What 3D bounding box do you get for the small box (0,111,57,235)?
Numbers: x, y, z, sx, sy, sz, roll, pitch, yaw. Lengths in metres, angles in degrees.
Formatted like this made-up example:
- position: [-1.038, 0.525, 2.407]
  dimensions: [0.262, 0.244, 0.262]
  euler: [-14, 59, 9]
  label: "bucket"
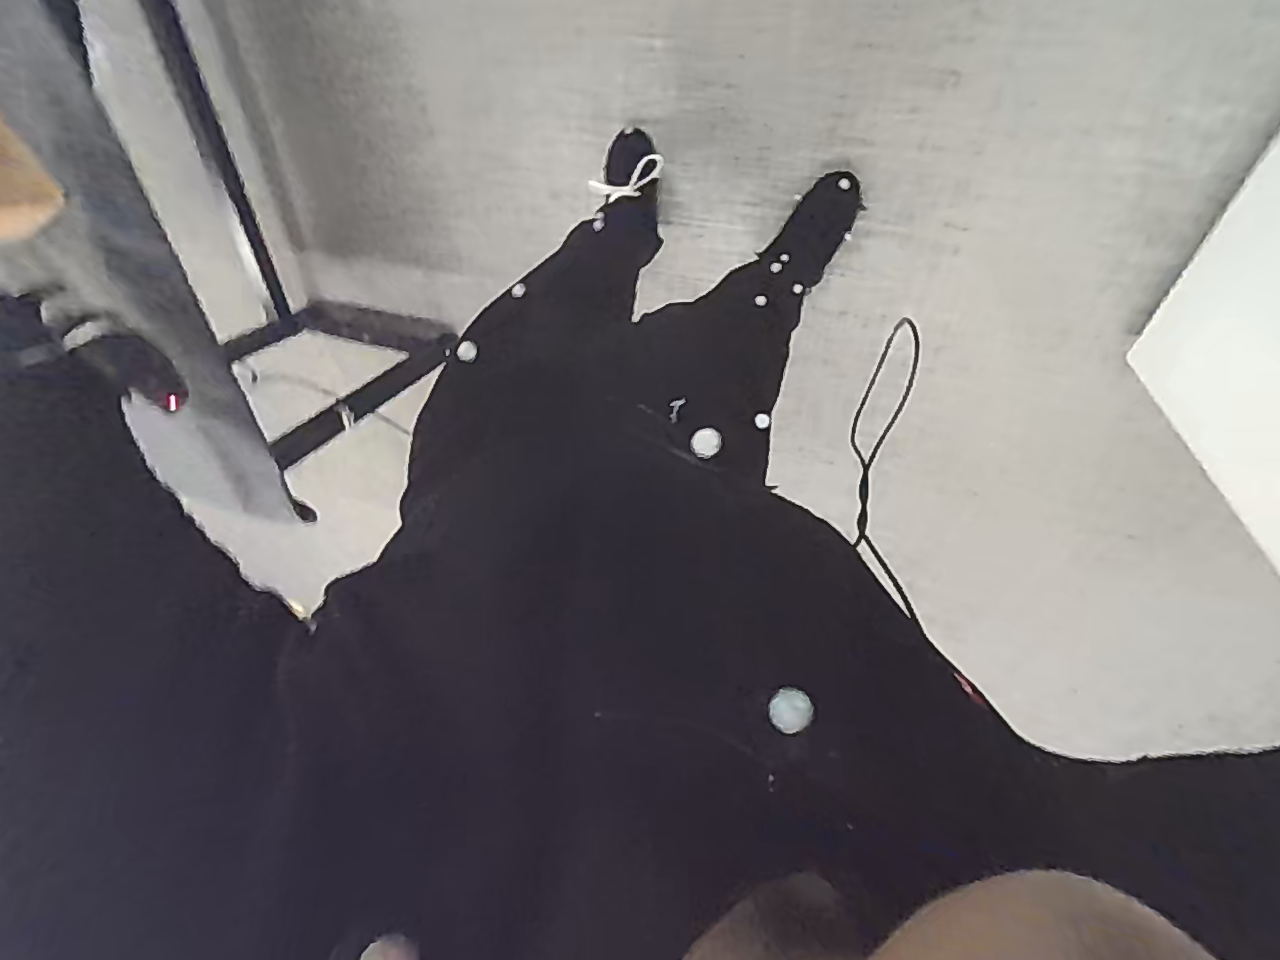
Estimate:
- position: [-0.866, -0.381, 0.637]
  dimensions: [0.179, 0.176, 0.168]
  euler: [-3, 123, 28]
  label: "small box"
